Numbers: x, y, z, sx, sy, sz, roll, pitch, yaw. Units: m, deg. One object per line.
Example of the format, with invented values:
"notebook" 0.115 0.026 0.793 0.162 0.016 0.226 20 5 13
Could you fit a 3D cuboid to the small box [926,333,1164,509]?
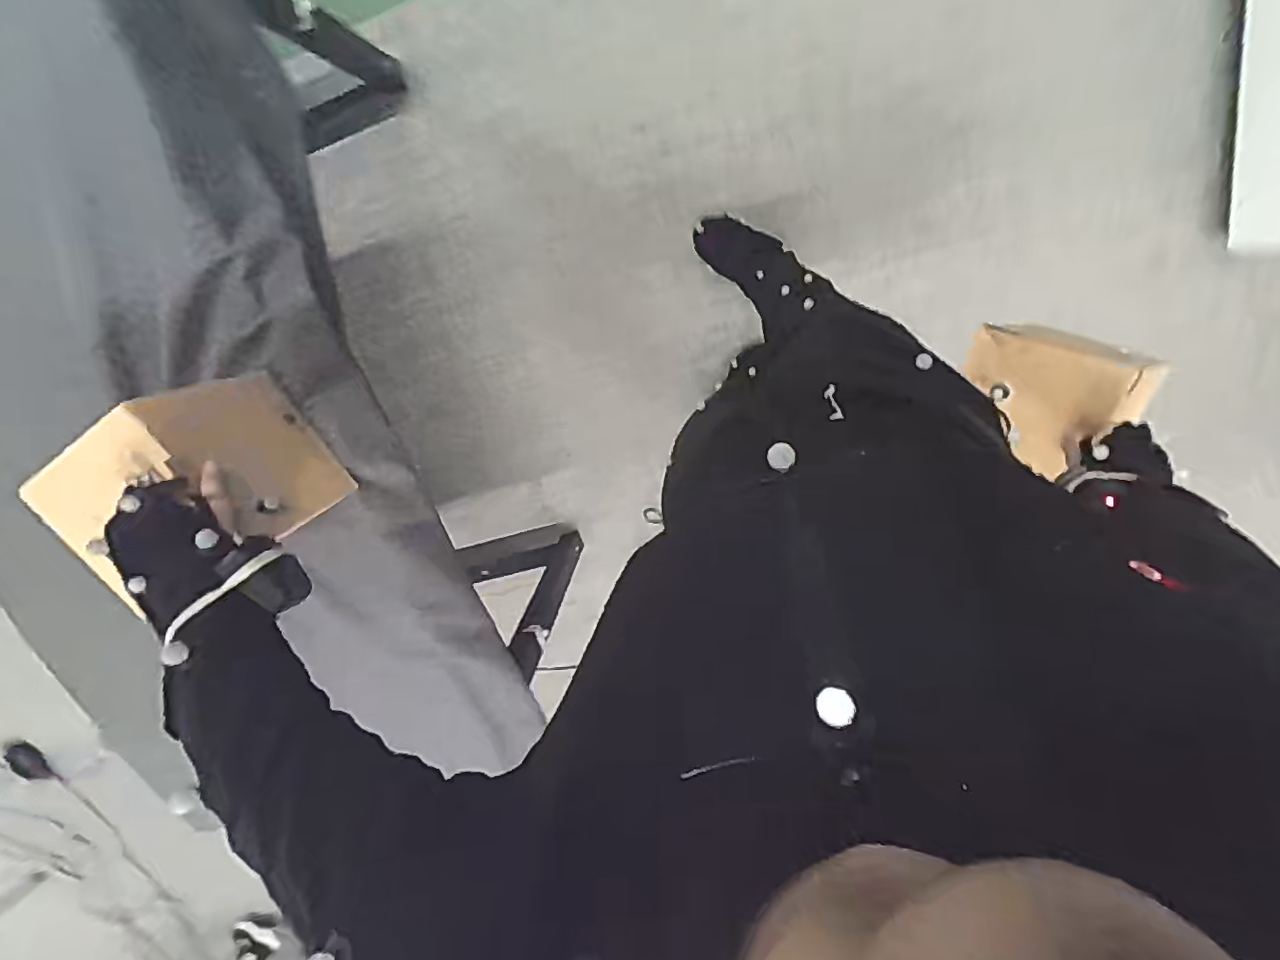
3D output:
"small box" 0.515 -0.088 0.702 0.179 0.176 0.168 -13 126 -37
